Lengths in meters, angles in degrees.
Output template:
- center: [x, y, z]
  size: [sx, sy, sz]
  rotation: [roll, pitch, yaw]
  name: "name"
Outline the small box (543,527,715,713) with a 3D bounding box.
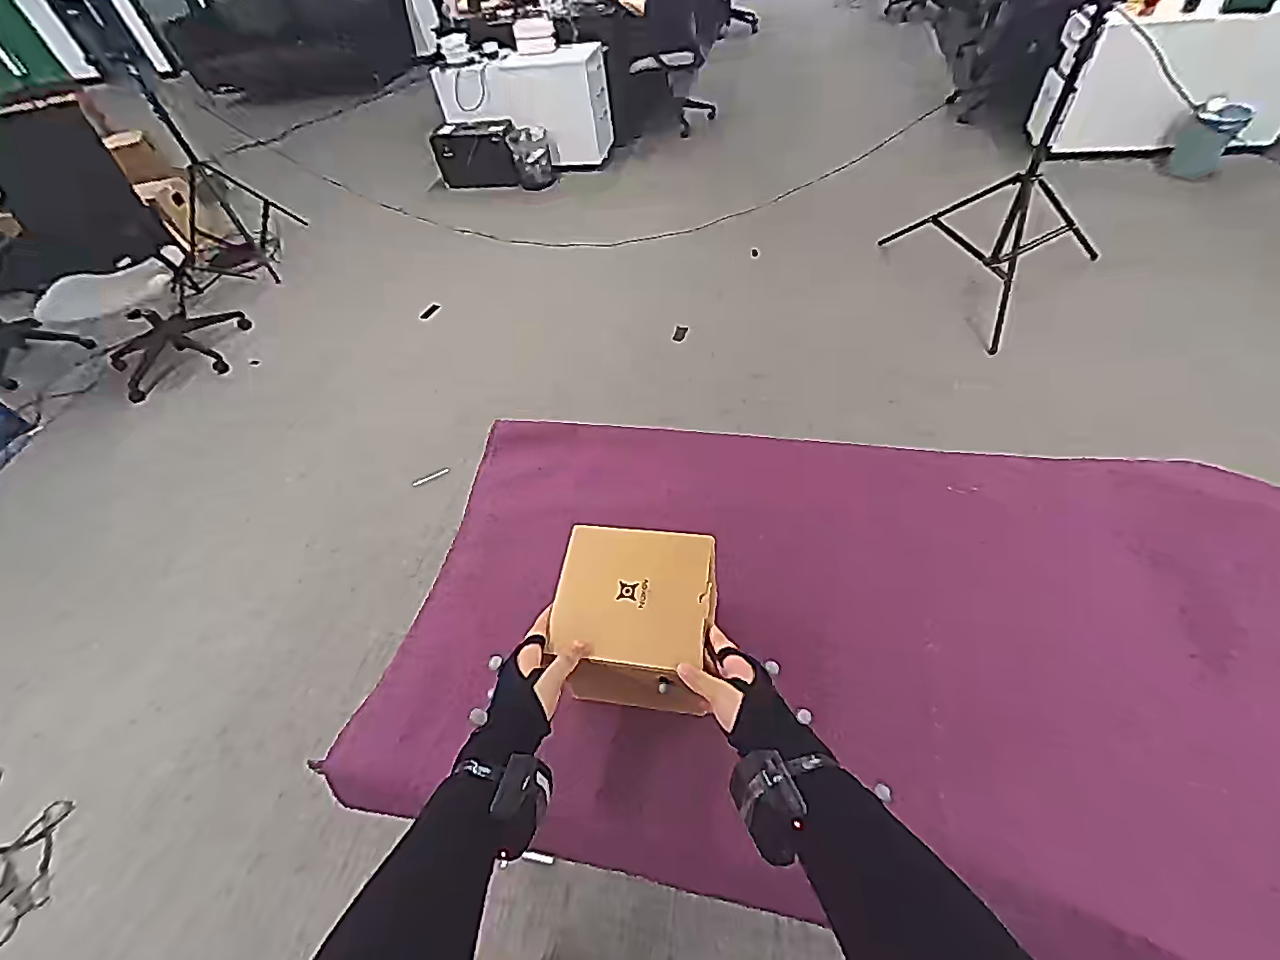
- center: [0.000, 0.177, 0.674]
  size: [0.179, 0.176, 0.168]
  rotation: [3, 53, 10]
  name: "small box"
